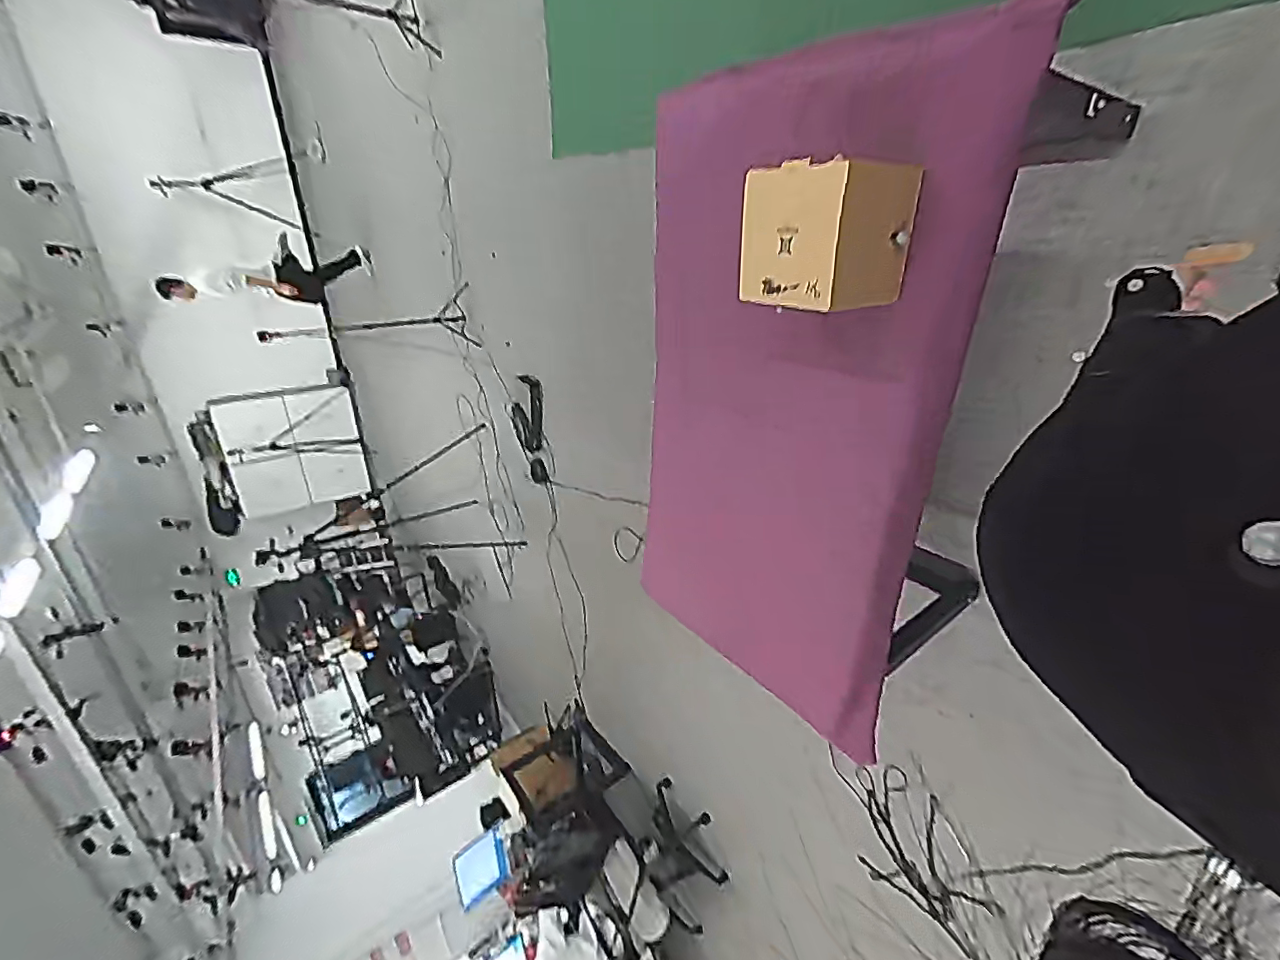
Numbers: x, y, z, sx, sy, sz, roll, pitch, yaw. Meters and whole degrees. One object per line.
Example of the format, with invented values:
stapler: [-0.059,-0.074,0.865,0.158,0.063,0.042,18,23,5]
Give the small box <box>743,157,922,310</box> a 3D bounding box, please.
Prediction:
small box: [0.271,-0.347,0.773,0.168,0.176,0.179,31,129,48]
